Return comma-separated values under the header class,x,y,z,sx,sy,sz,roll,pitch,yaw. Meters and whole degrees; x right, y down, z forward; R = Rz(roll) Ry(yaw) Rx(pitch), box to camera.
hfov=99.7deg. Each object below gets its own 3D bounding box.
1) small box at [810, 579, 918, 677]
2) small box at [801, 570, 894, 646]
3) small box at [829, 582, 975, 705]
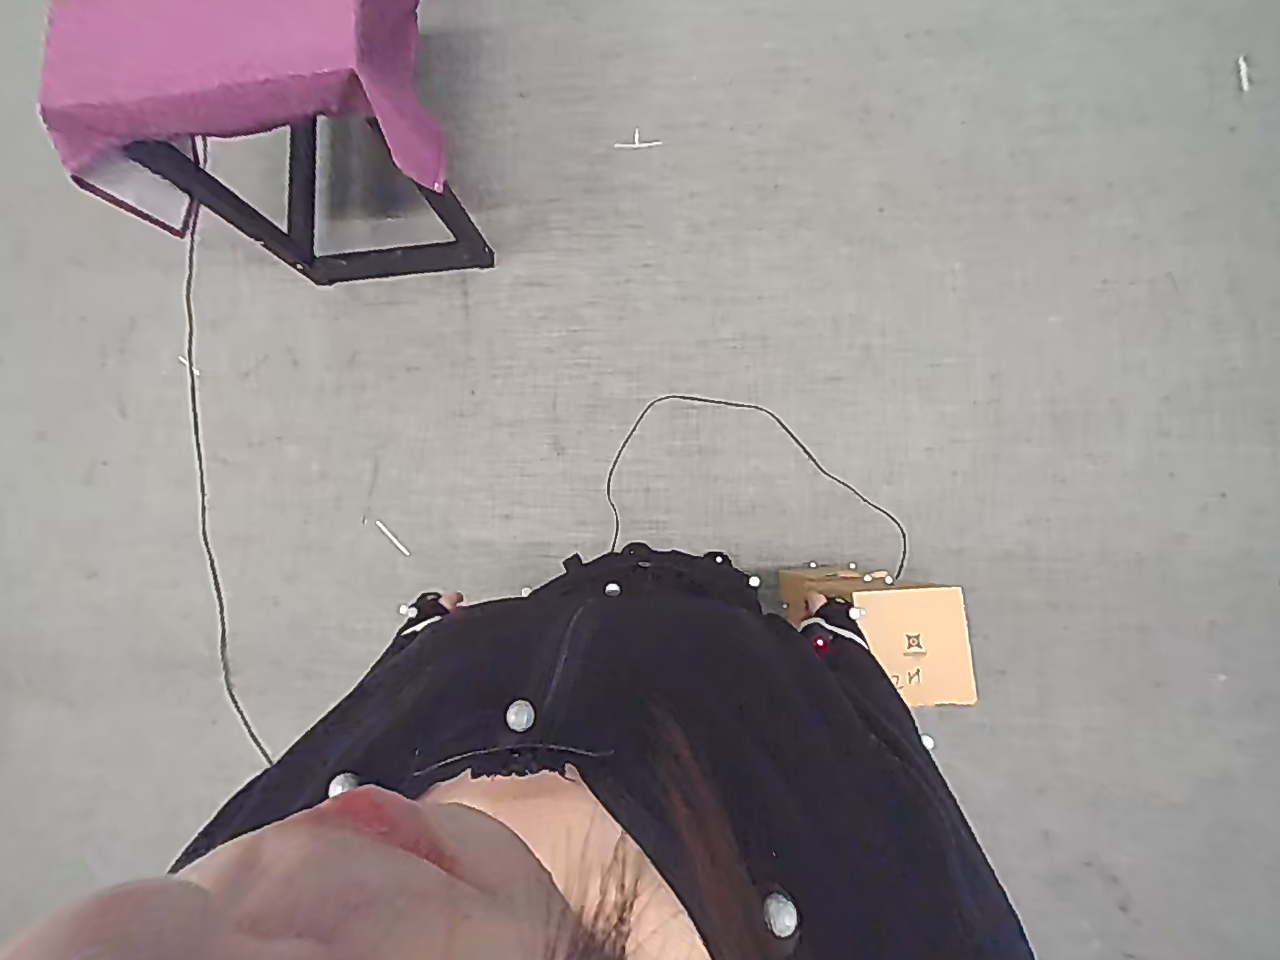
class,x,y,z,sx,sy,sz,roll,pitch,yaw
small box,0.441,0.283,1.062,0.179,0.176,0.168,-4,83,4
small box,0.468,0.296,1.222,0.168,0.176,0.179,-4,84,5
small box,0.422,0.261,0.899,0.168,0.176,0.179,-3,83,5
